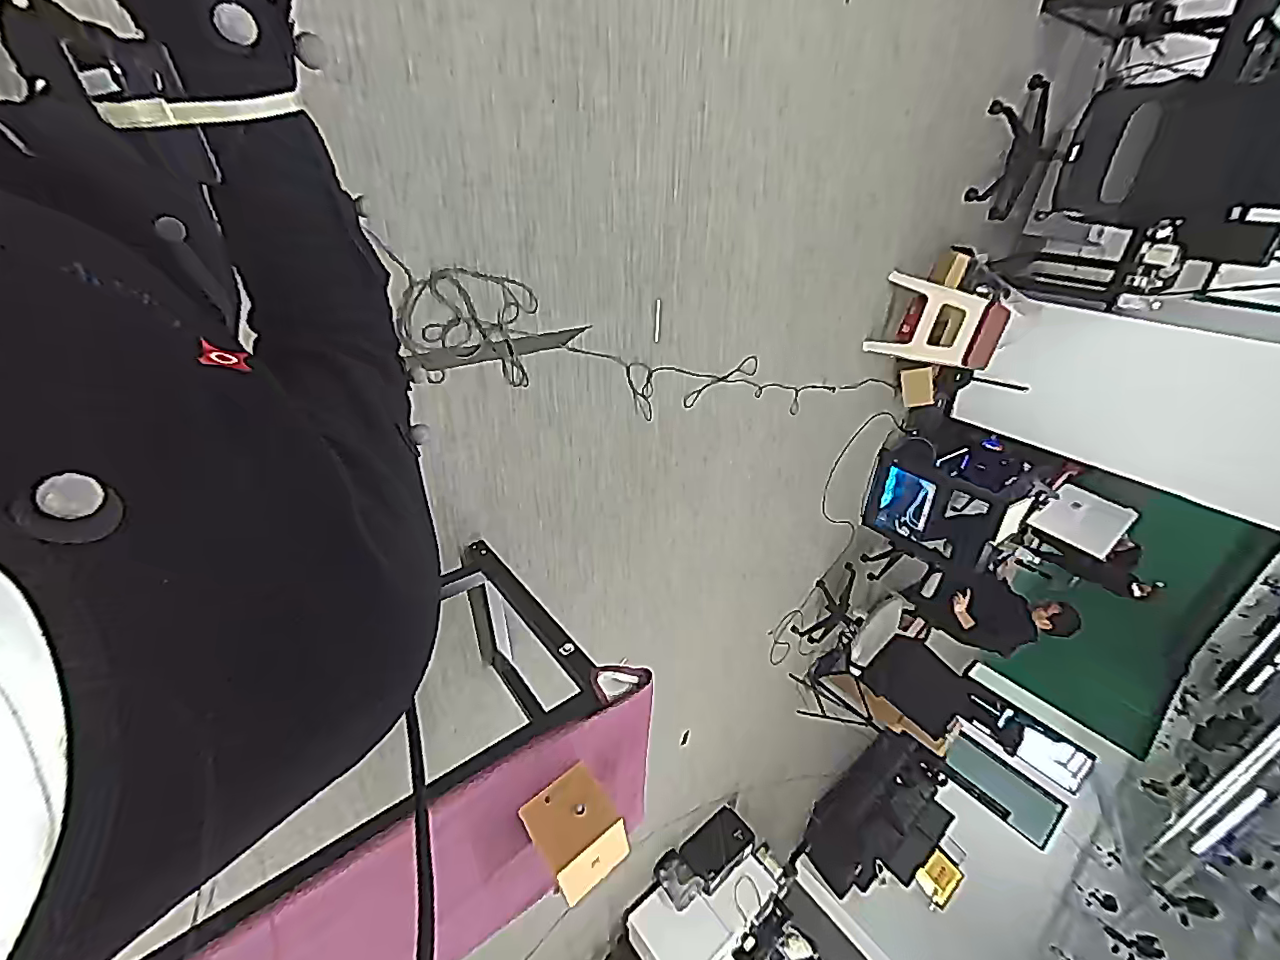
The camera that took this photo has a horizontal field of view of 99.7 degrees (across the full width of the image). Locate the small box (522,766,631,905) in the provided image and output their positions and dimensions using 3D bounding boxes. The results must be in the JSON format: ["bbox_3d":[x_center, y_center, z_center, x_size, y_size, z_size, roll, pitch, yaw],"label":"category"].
[{"bbox_3d":[-0.142,0.777,1.202,0.168,0.176,0.179,-28,131,-28],"label":"small box"}]
